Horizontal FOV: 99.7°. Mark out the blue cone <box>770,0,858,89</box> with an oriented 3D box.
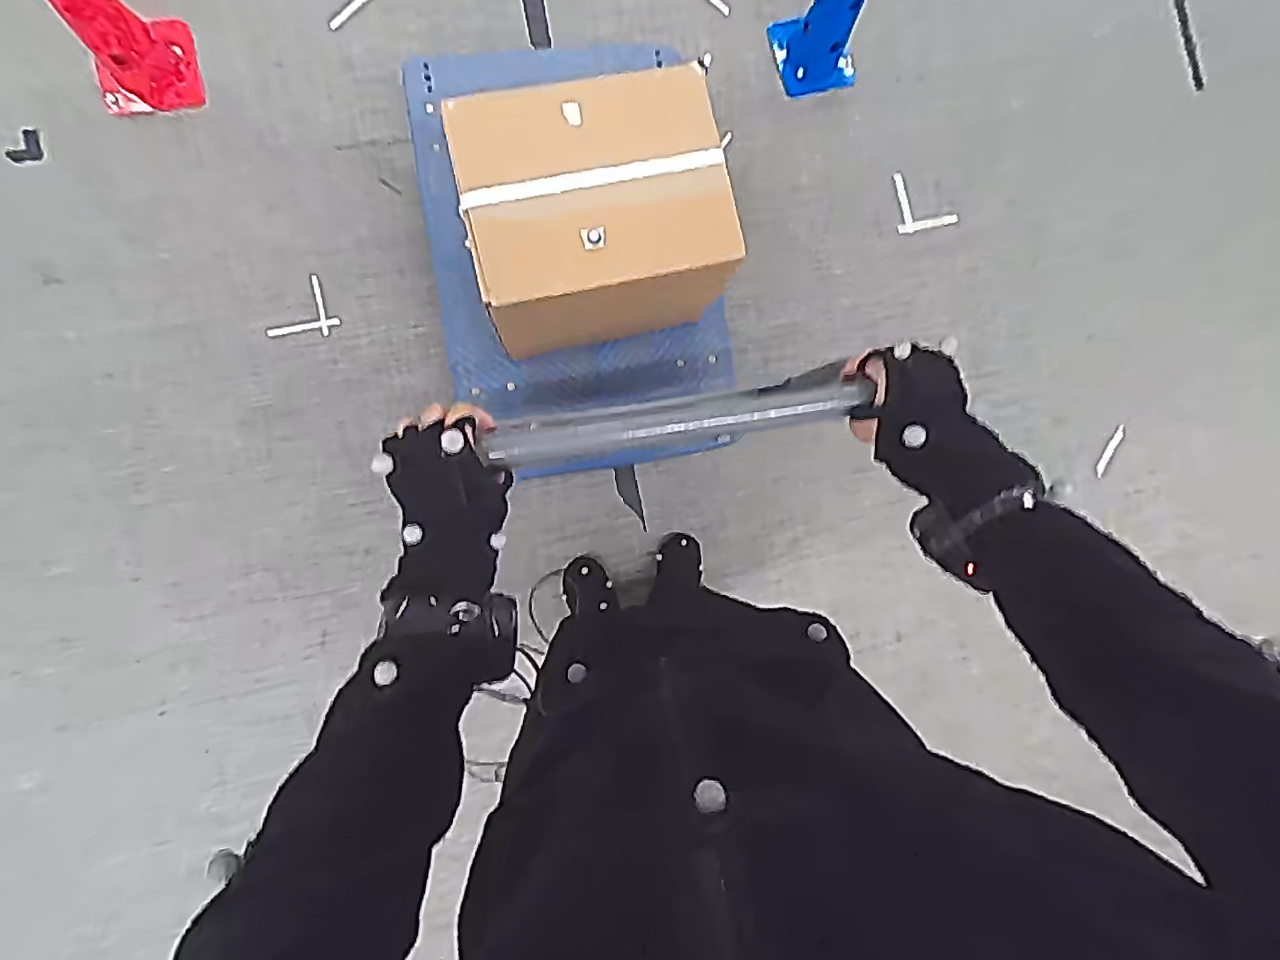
[{"bbox_3d":[0.462,-1.108,1.223,0.193,0.380,0.192,-16,89,-8],"label":"blue cone"}]
